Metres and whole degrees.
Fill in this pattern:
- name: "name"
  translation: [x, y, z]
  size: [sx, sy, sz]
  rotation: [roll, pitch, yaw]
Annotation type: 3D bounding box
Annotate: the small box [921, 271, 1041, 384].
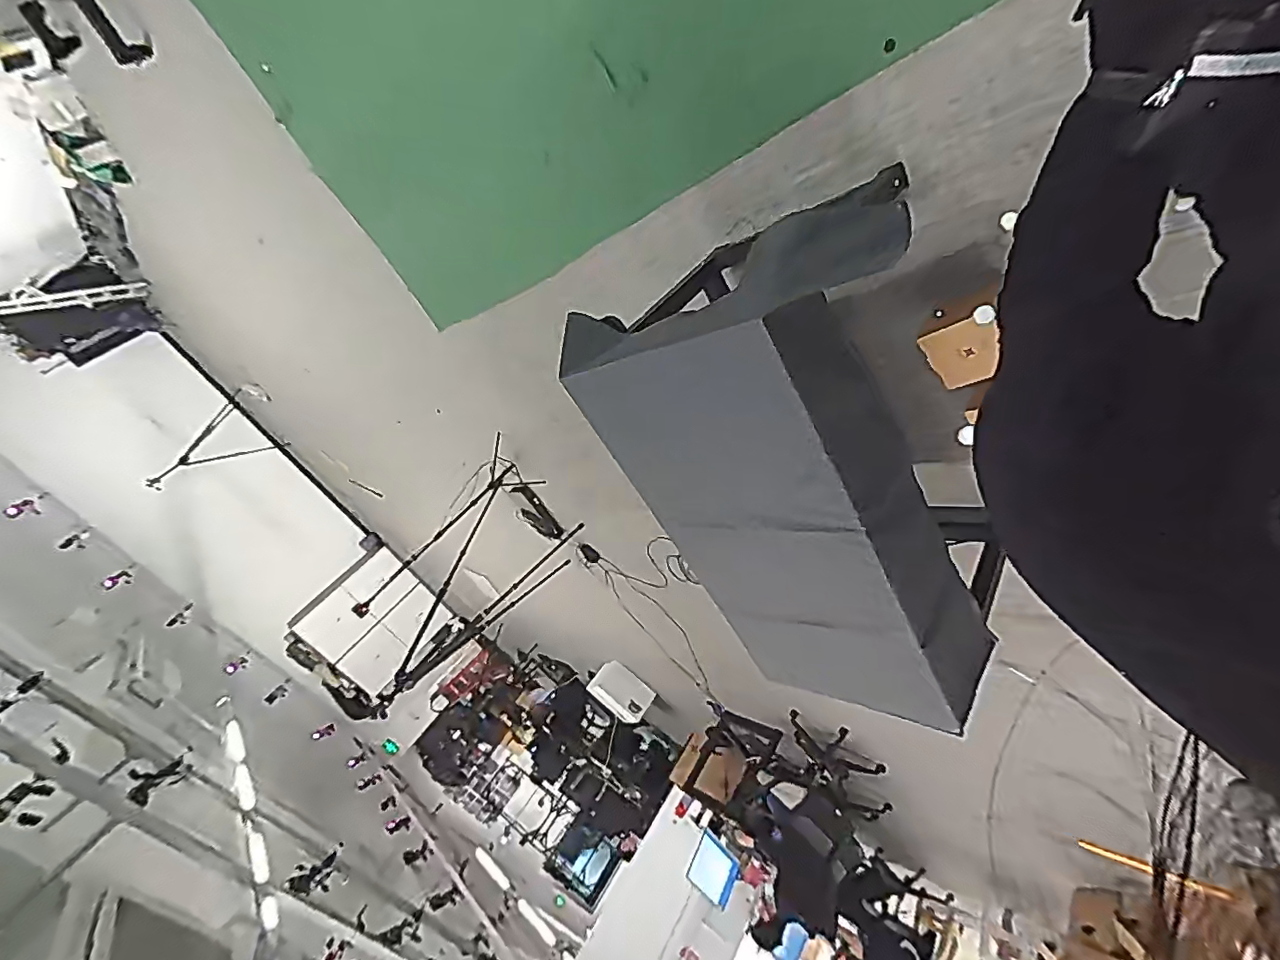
- name: "small box"
  translation: [0.830, -0.369, 1.315]
  size: [0.168, 0.176, 0.179]
  rotation: [48, 151, -15]
